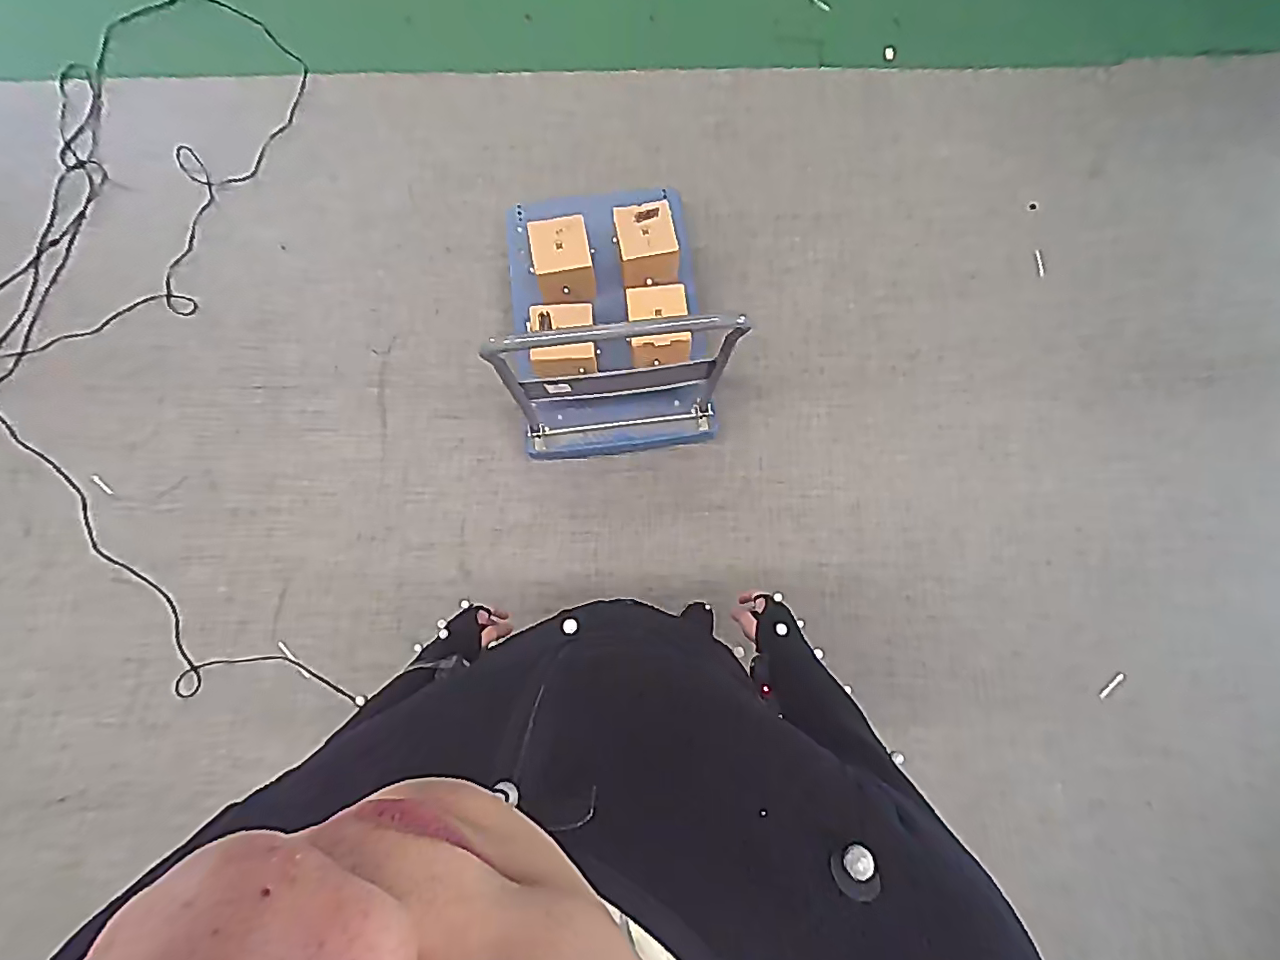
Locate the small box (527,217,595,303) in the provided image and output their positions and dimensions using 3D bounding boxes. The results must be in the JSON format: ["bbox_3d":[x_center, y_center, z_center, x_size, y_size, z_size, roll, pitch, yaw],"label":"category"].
[{"bbox_3d":[-0.232,-0.648,1.618,0.168,0.176,0.179,-10,77,-3],"label":"small box"}]

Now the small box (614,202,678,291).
[{"bbox_3d":[0.015,-0.696,1.629,0.168,0.176,0.179,-11,78,-1],"label":"small box"}]

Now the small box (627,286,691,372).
[{"bbox_3d":[0.050,-0.434,1.569,0.168,0.176,0.179,-6,77,-2],"label":"small box"}]
